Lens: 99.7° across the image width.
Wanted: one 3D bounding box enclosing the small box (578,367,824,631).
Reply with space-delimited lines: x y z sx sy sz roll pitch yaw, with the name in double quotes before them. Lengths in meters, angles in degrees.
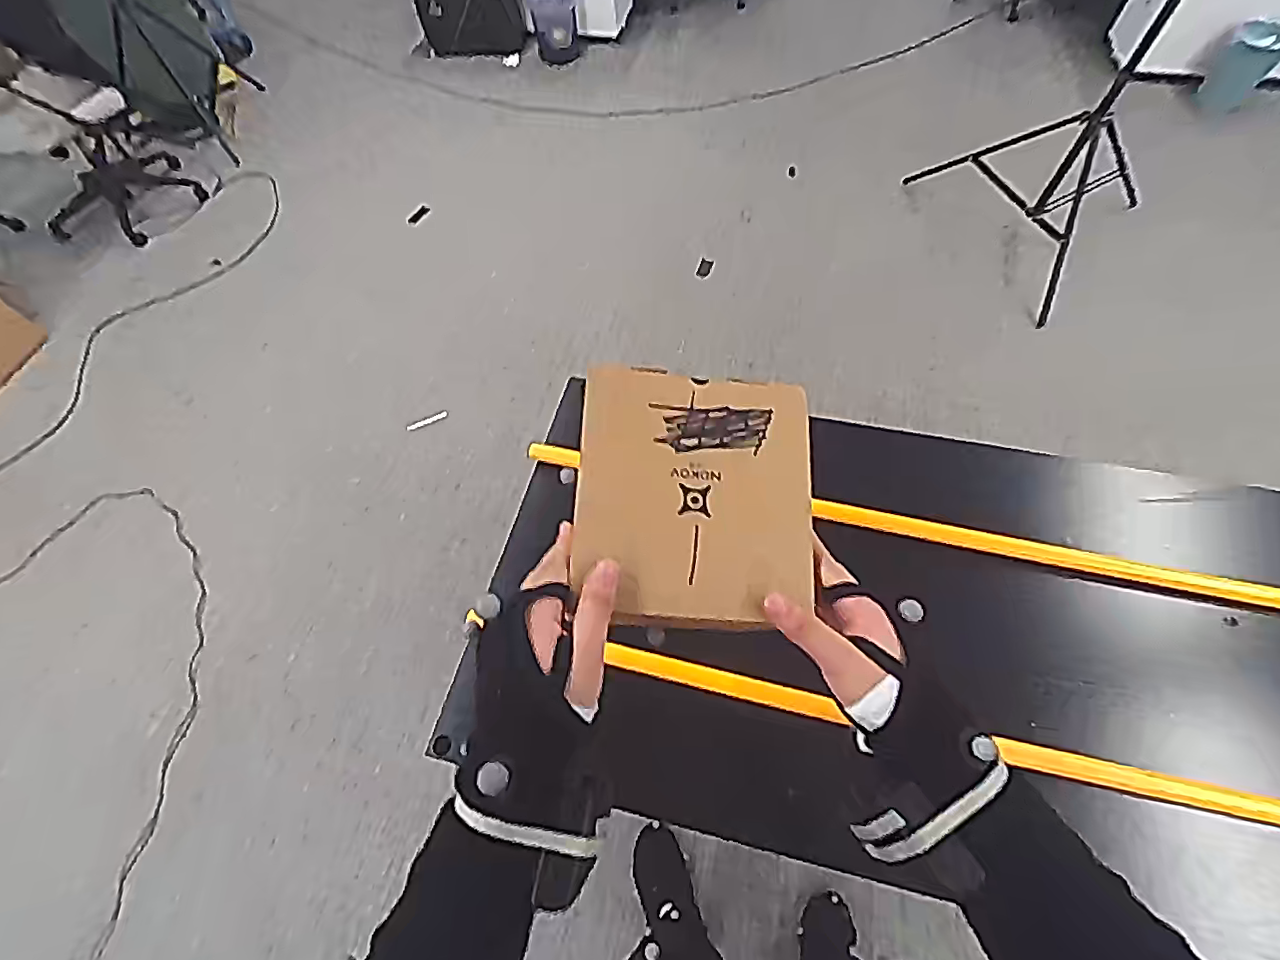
"small box" 0.038 0.029 0.451 0.168 0.176 0.179 5 74 -5
